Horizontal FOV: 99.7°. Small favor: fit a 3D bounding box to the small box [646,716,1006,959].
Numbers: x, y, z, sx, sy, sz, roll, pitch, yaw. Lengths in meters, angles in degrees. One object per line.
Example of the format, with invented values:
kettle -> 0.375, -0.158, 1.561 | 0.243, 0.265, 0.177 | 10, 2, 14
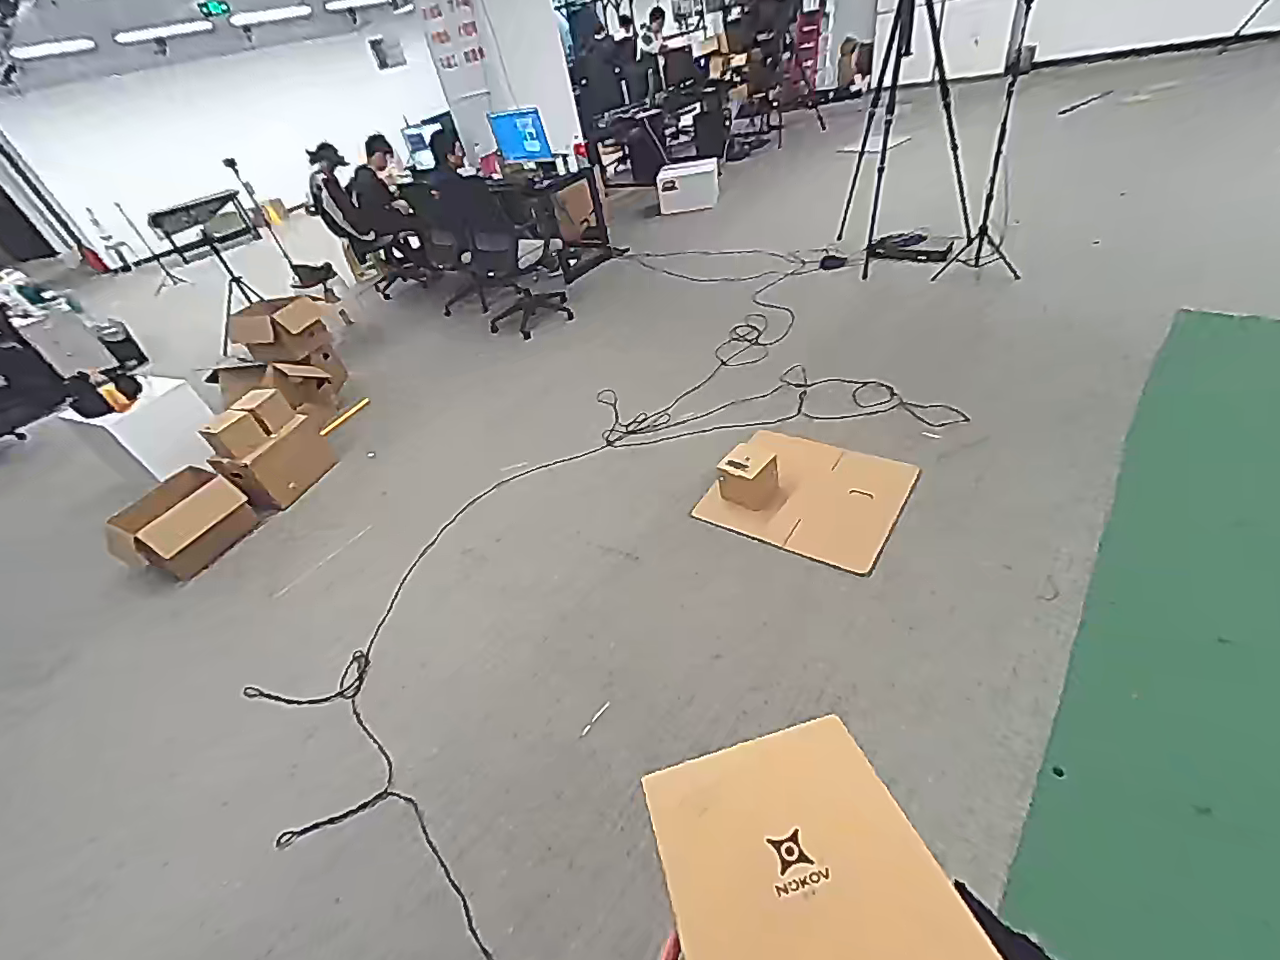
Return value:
small box -> 0.112, 0.313, 0.384 | 0.168, 0.176, 0.179 | -15, 29, -8
